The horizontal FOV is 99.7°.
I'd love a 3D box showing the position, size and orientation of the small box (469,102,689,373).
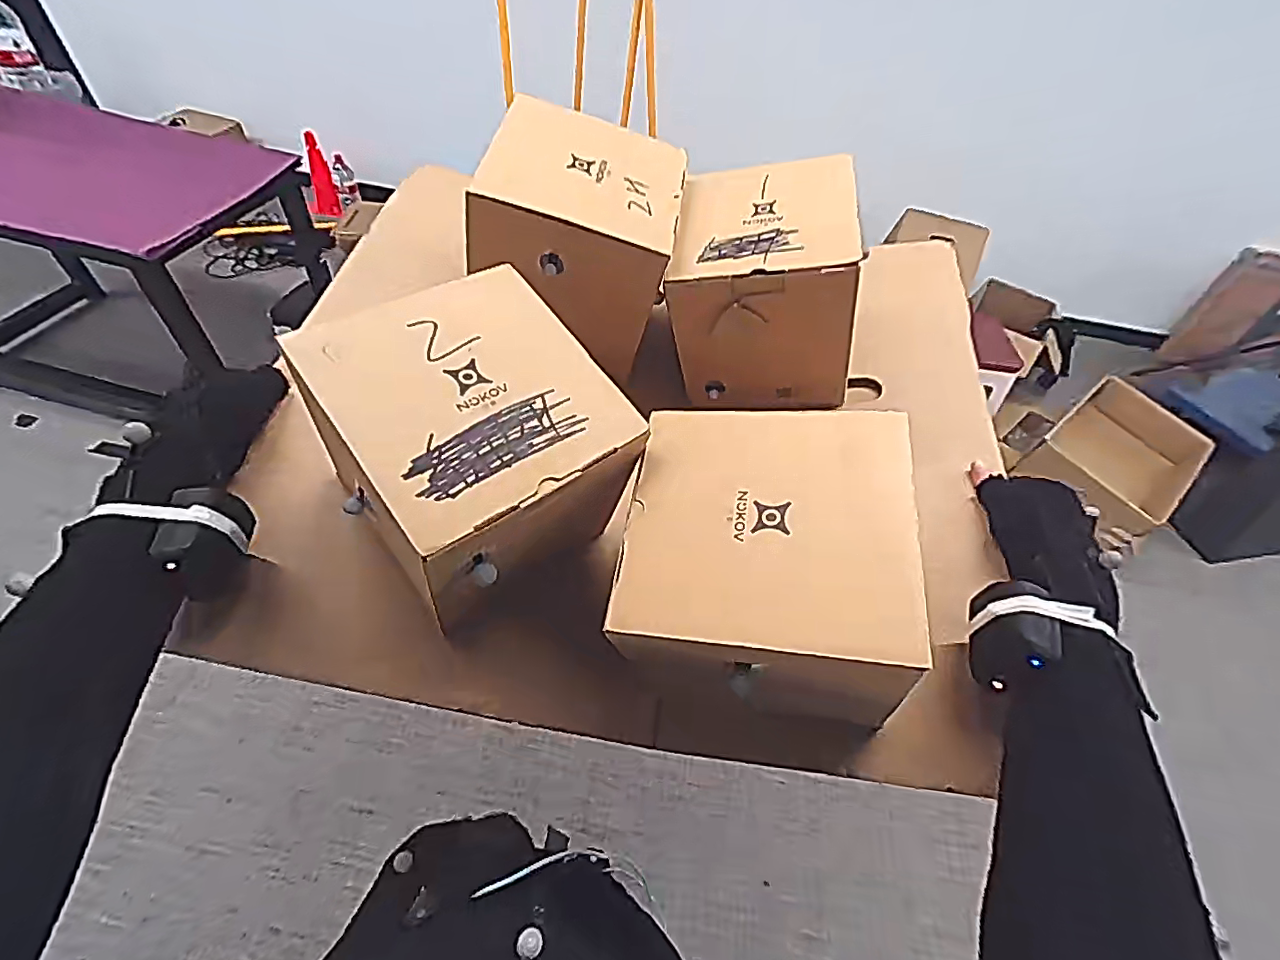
[{"bbox_3d":[-0.065,-0.237,0.558,0.179,0.176,0.168,15,59,-8],"label":"small box"}]
